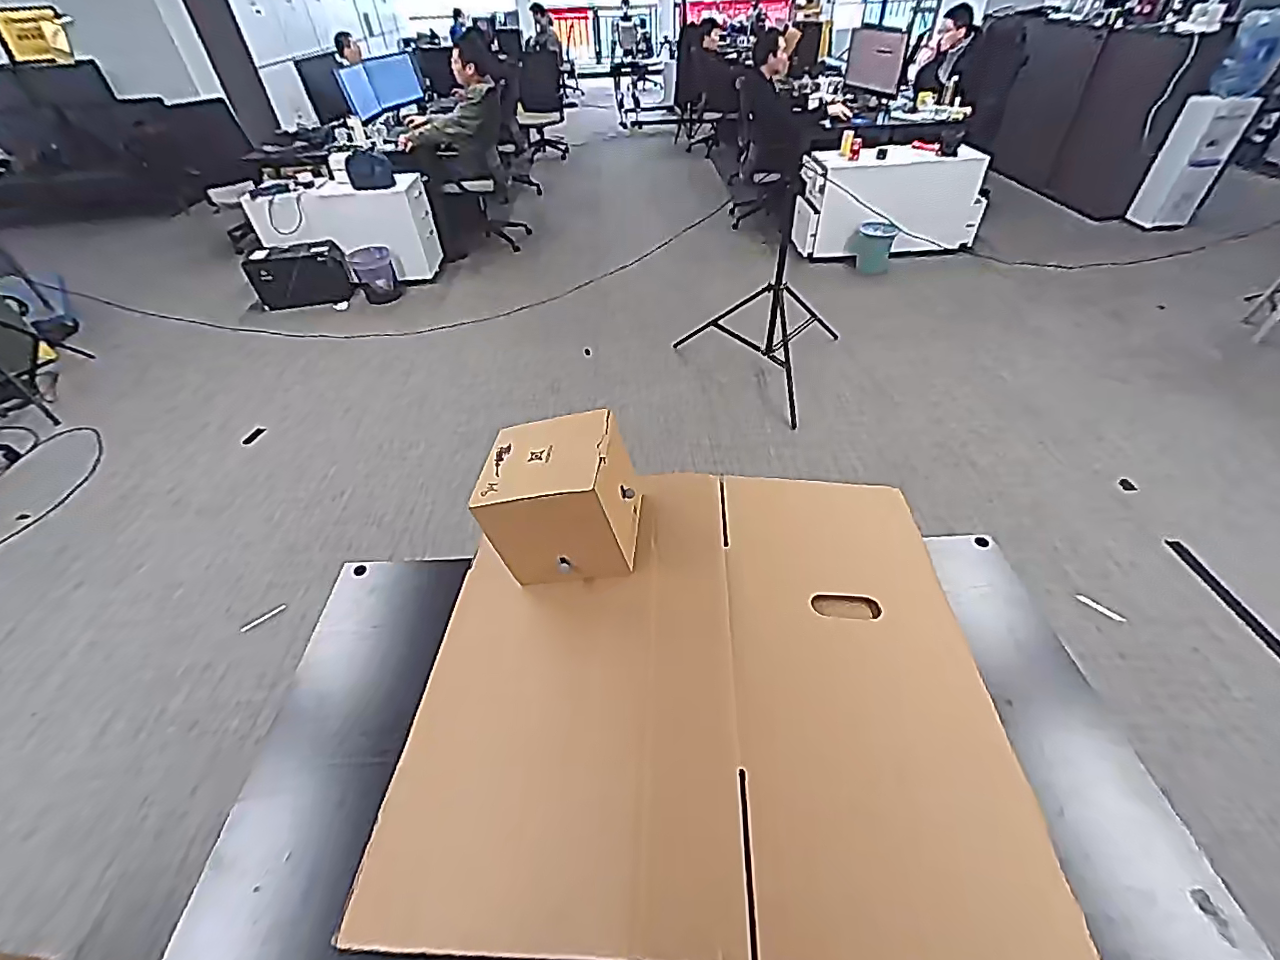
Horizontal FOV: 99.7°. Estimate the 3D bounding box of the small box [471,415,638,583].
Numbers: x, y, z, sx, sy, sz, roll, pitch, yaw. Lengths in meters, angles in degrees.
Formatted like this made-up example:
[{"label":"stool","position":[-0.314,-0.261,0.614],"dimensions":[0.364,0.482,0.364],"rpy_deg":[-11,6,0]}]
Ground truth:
[{"label":"small box","position":[-0.107,0.031,0.783],"dimensions":[0.179,0.176,0.168],"rpy_deg":[-8,41,13]}]
